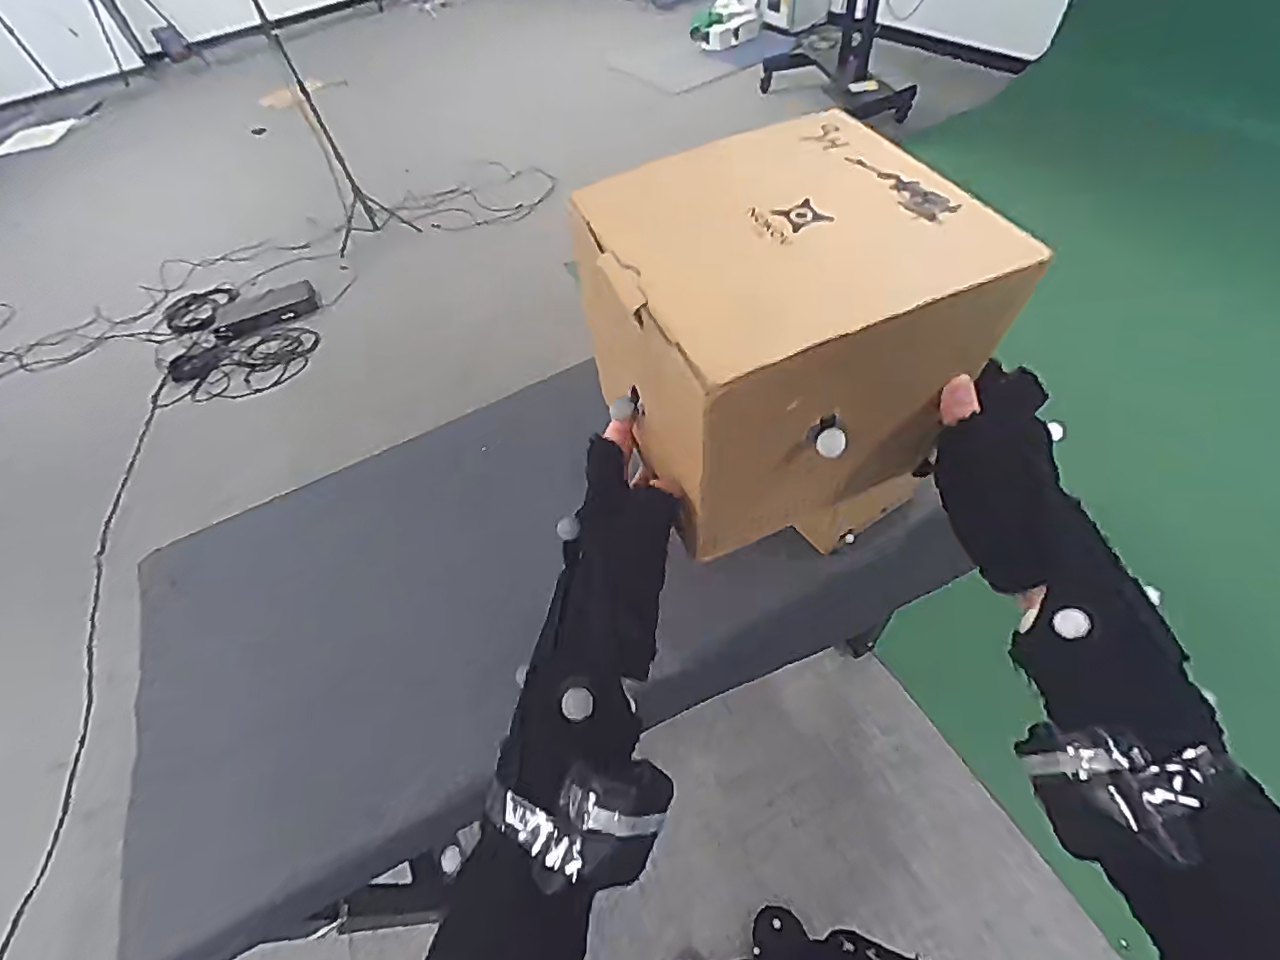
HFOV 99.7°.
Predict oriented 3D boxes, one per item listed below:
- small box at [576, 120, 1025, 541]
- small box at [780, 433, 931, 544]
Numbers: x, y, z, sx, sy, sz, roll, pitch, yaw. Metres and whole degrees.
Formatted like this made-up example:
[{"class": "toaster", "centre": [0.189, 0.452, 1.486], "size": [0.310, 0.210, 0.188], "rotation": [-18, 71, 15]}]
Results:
[{"class": "small box", "centre": [0.080, -0.086, 0.347], "size": [0.179, 0.176, 0.168], "rotation": [-22, 58, -9]}, {"class": "small box", "centre": [0.267, -0.033, 0.764], "size": [0.168, 0.176, 0.179], "rotation": [-30, 53, -13]}]
